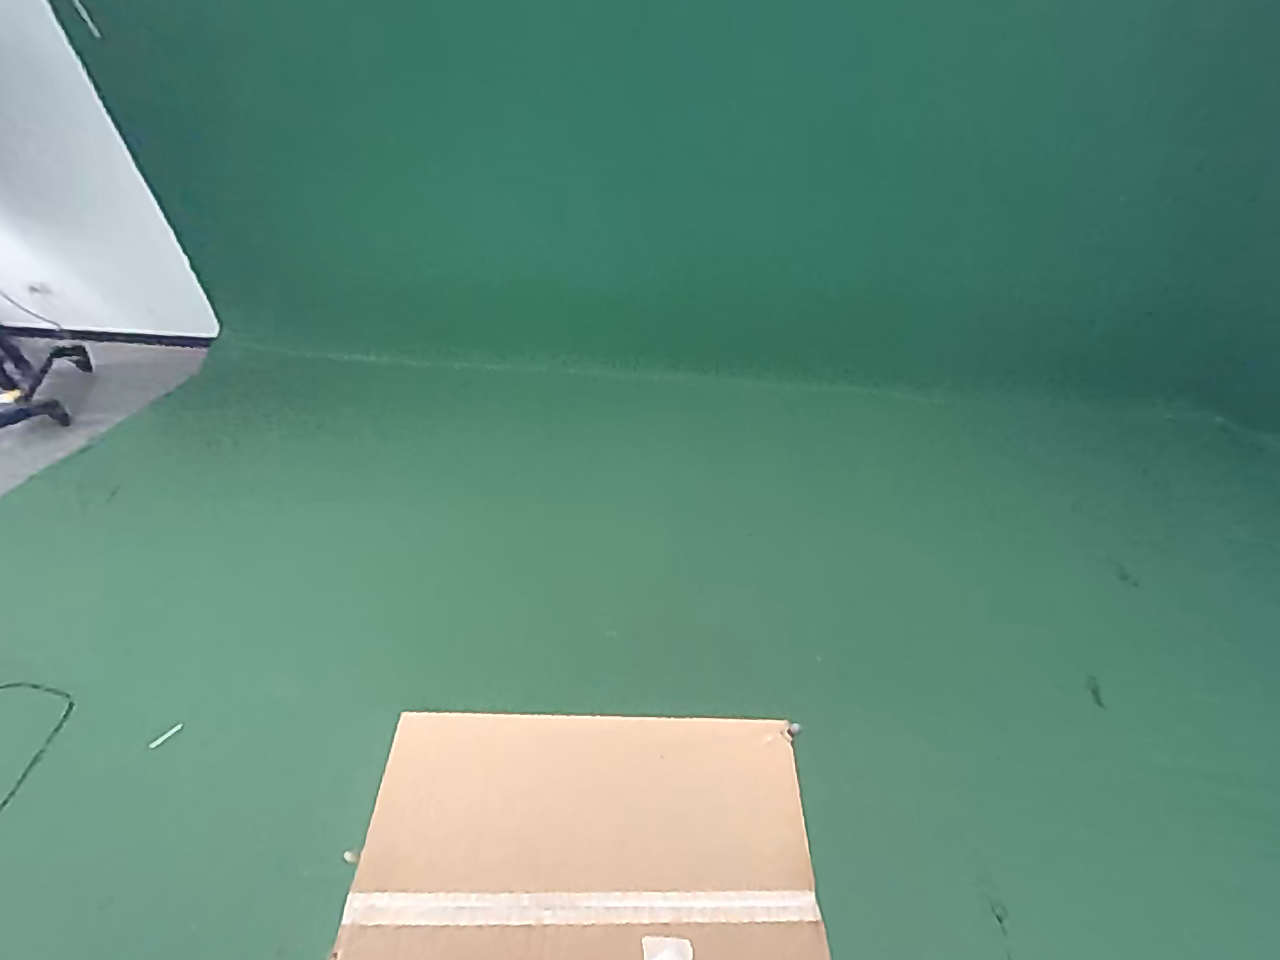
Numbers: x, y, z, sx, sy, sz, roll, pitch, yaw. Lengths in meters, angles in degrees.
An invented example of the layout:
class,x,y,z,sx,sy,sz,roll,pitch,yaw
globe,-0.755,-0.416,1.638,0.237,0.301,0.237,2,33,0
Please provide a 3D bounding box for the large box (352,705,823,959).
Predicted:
class,x,y,z,sx,sy,sz,roll,pitch,yaw
large box,-0.054,0.457,0.600,0.408,0.320,0.320,3,52,-4
